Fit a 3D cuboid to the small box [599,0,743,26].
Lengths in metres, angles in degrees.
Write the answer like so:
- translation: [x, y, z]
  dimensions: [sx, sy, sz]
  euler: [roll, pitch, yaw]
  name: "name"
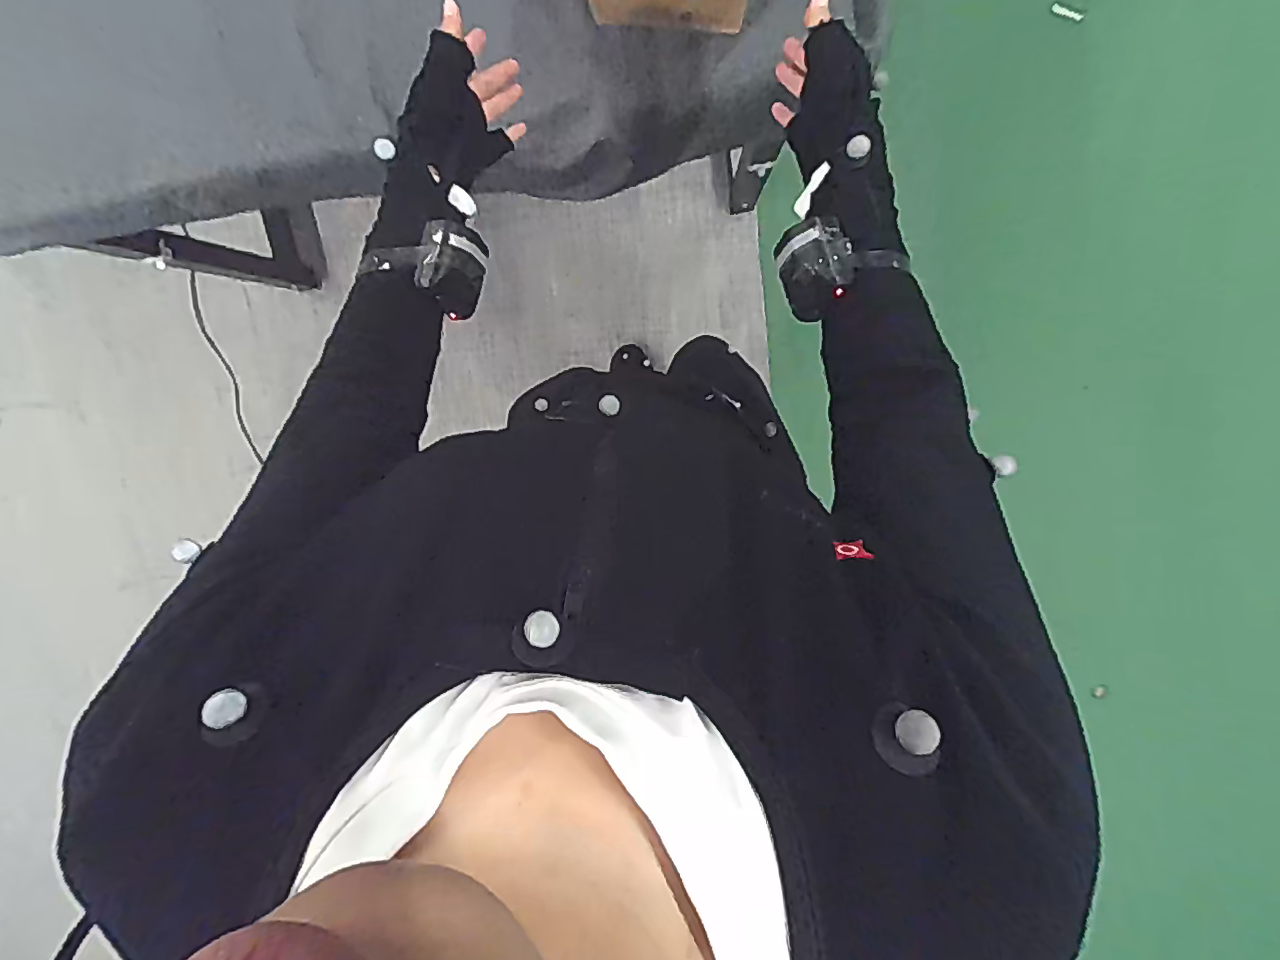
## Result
- translation: [0.031, -0.576, 0.509]
  dimensions: [0.168, 0.176, 0.179]
  euler: [6, 101, 2]
  name: "small box"
